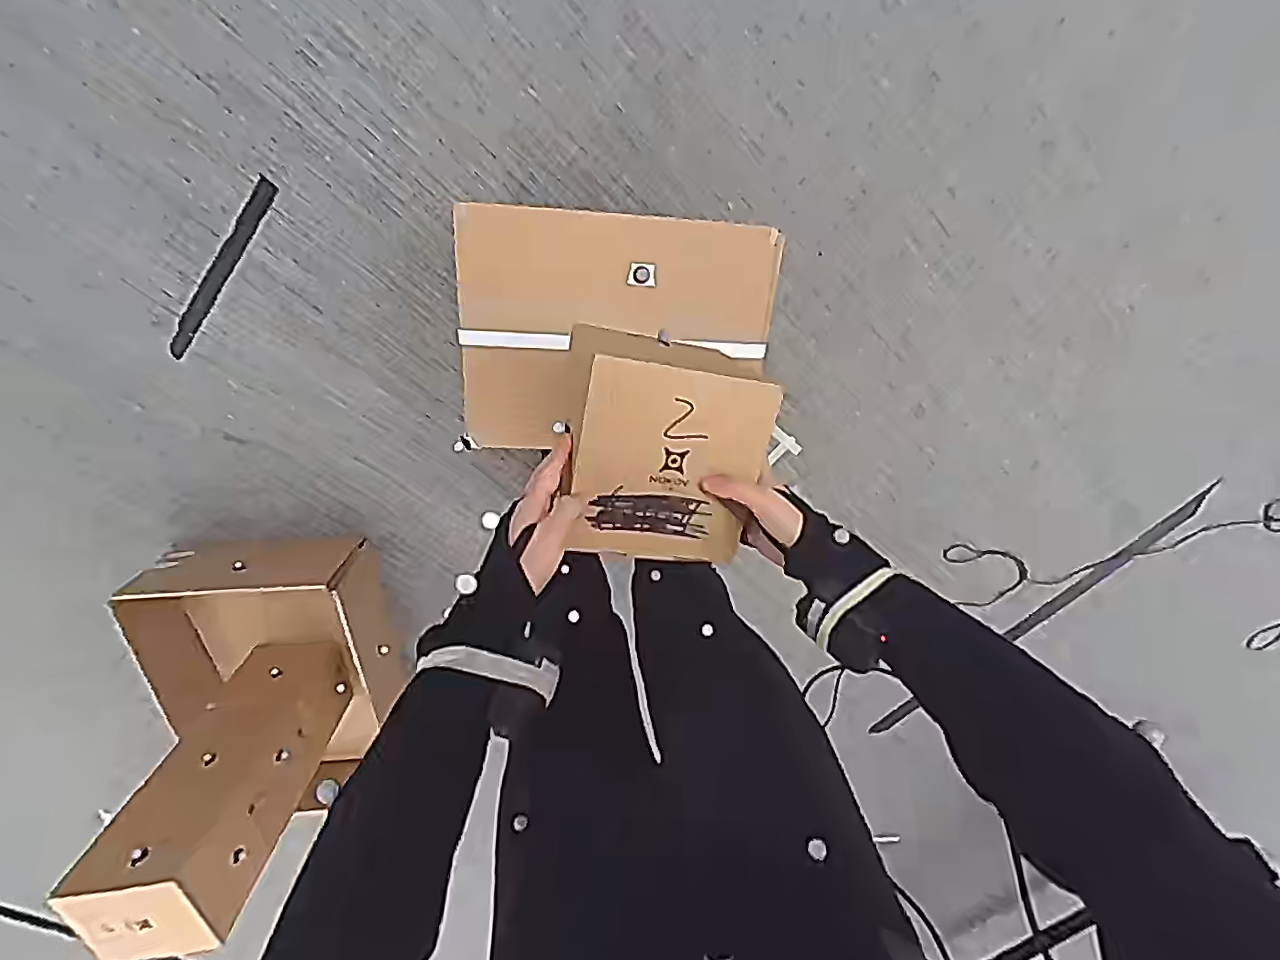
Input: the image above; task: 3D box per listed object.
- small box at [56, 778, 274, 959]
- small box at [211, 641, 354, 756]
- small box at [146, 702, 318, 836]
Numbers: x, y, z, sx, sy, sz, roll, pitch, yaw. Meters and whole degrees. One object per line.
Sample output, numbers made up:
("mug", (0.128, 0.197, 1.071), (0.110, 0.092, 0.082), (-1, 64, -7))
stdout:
("small box", (-0.720, 0.601, 0.852), (0.179, 0.176, 0.168), (-7, 114, -2))
("small box", (-0.745, 0.464, 1.149), (0.179, 0.176, 0.168), (-3, 115, -4))
("small box", (-0.734, 0.538, 1.005), (0.179, 0.176, 0.168), (-6, 114, -1))
